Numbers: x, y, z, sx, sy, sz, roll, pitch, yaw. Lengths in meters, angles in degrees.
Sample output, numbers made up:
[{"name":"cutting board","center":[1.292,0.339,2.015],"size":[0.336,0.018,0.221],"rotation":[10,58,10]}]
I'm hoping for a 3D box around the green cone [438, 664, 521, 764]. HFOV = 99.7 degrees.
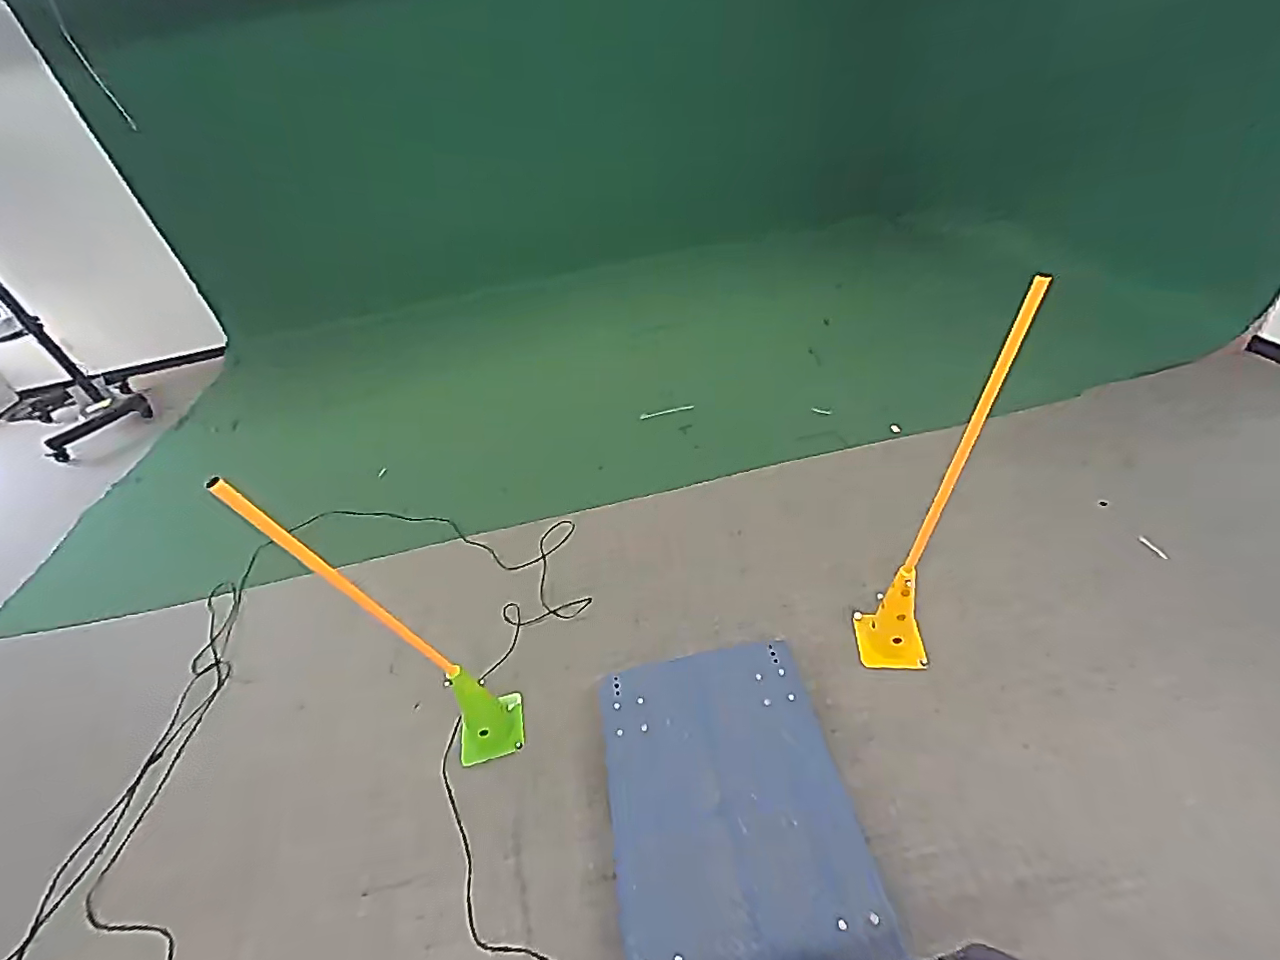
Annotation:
[{"name":"green cone","center":[-0.515,0.664,1.637],"size":[0.202,0.368,0.200],"rotation":[-16,40,-4]}]
